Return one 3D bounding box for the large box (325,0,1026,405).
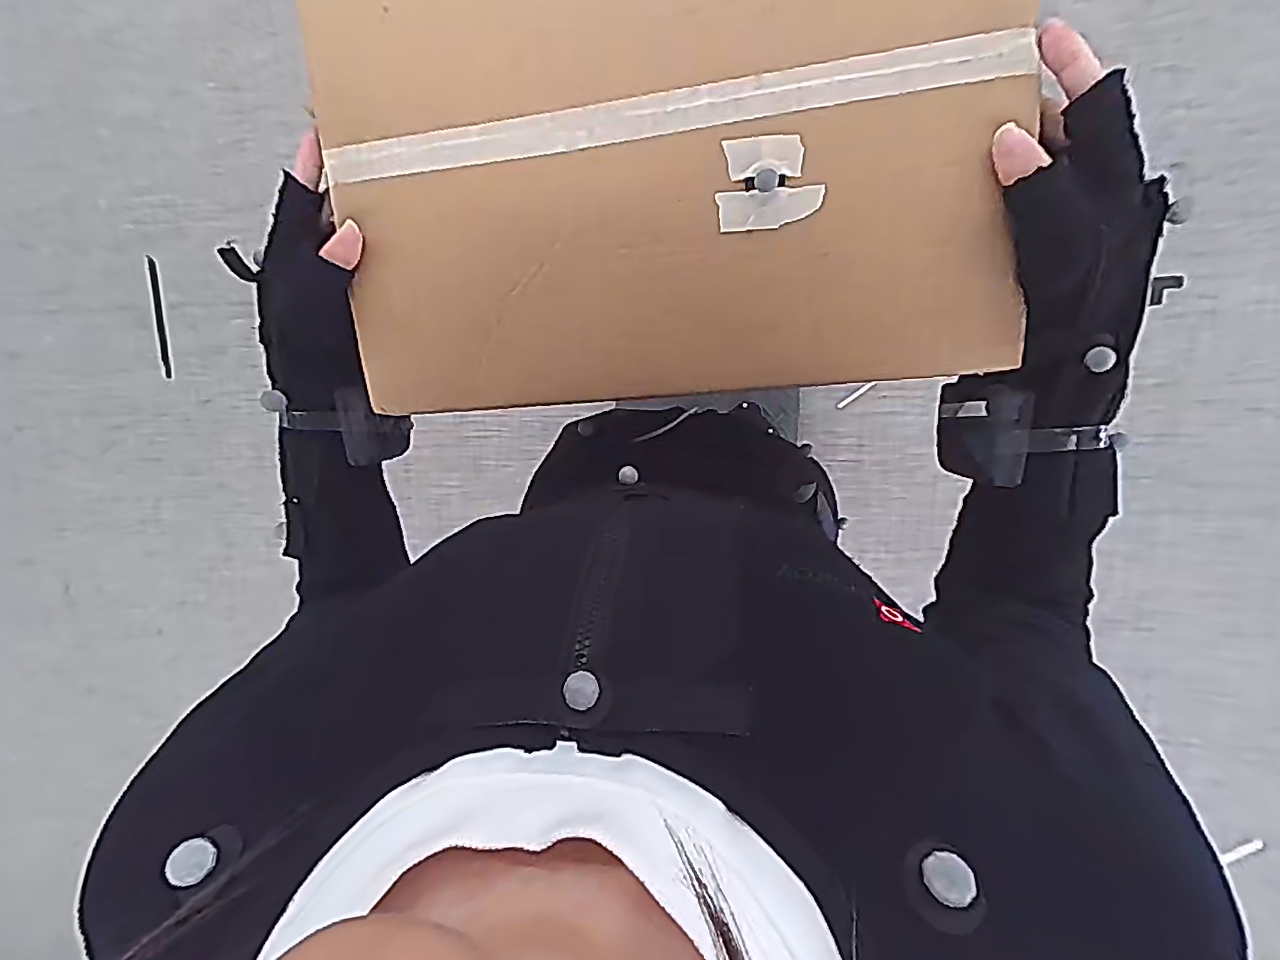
[{"bbox_3d":[0.028,-0.246,0.464,0.408,0.320,0.320,-3,102,9],"label":"large box"}]
